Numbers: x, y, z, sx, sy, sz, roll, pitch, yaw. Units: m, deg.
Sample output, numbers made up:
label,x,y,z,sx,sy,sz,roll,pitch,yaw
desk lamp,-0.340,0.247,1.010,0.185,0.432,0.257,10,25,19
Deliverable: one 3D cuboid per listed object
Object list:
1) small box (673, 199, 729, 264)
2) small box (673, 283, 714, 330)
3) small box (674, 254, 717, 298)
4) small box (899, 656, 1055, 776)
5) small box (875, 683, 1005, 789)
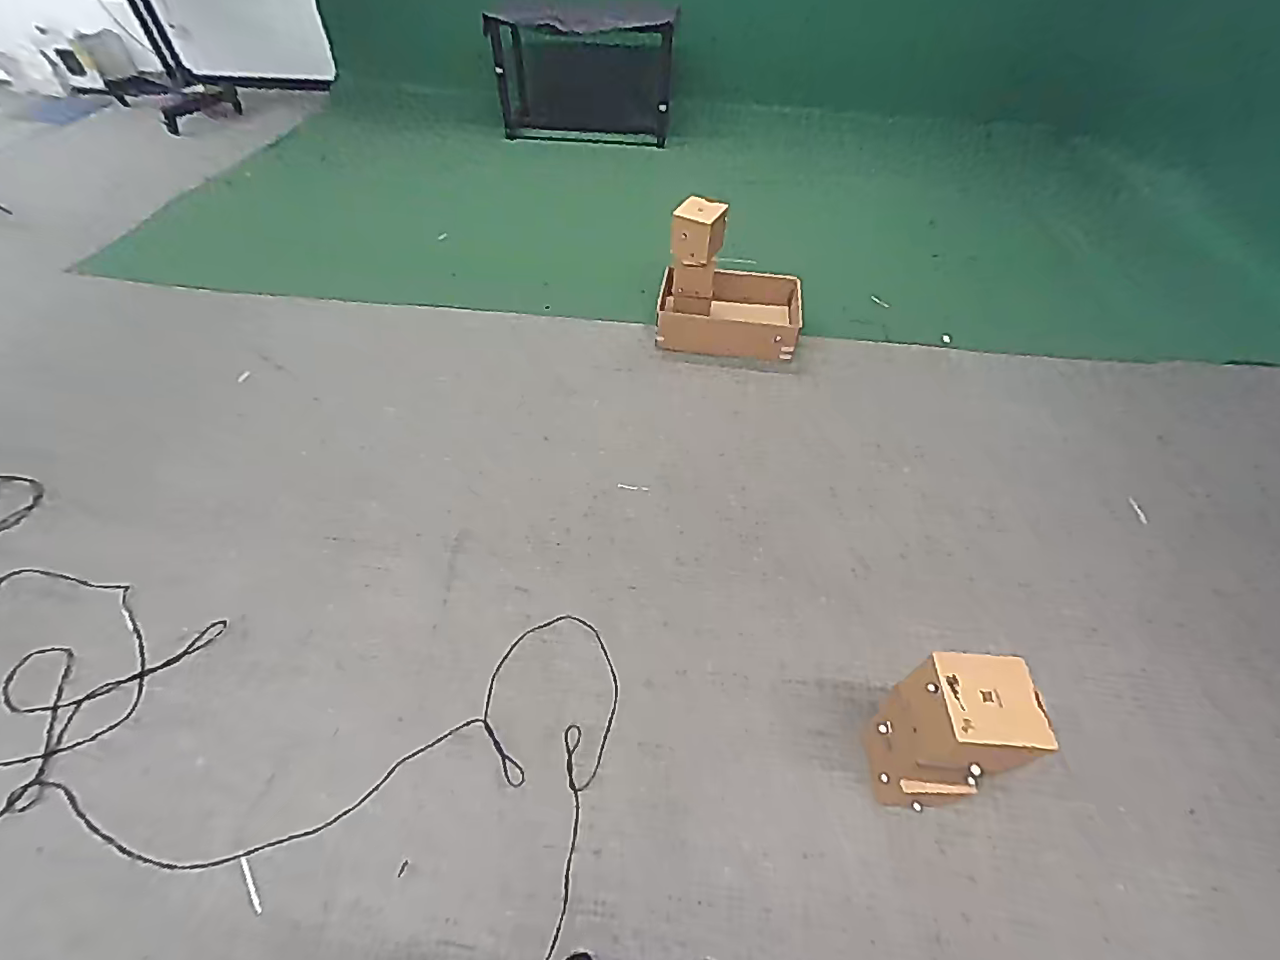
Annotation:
label,x,y,z,sx,sy,sz,roll,pitch,yaw
small box,0.243,-0.996,2.173,0.168,0.176,0.179,24,53,17
small box,0.240,-0.801,2.437,0.168,0.176,0.179,5,51,3
small box,0.237,-0.898,2.304,0.168,0.176,0.179,7,50,3
small box,0.635,0.459,1.044,0.179,0.176,0.168,5,49,2
small box,0.639,0.559,1.174,0.179,0.176,0.168,4,49,3
